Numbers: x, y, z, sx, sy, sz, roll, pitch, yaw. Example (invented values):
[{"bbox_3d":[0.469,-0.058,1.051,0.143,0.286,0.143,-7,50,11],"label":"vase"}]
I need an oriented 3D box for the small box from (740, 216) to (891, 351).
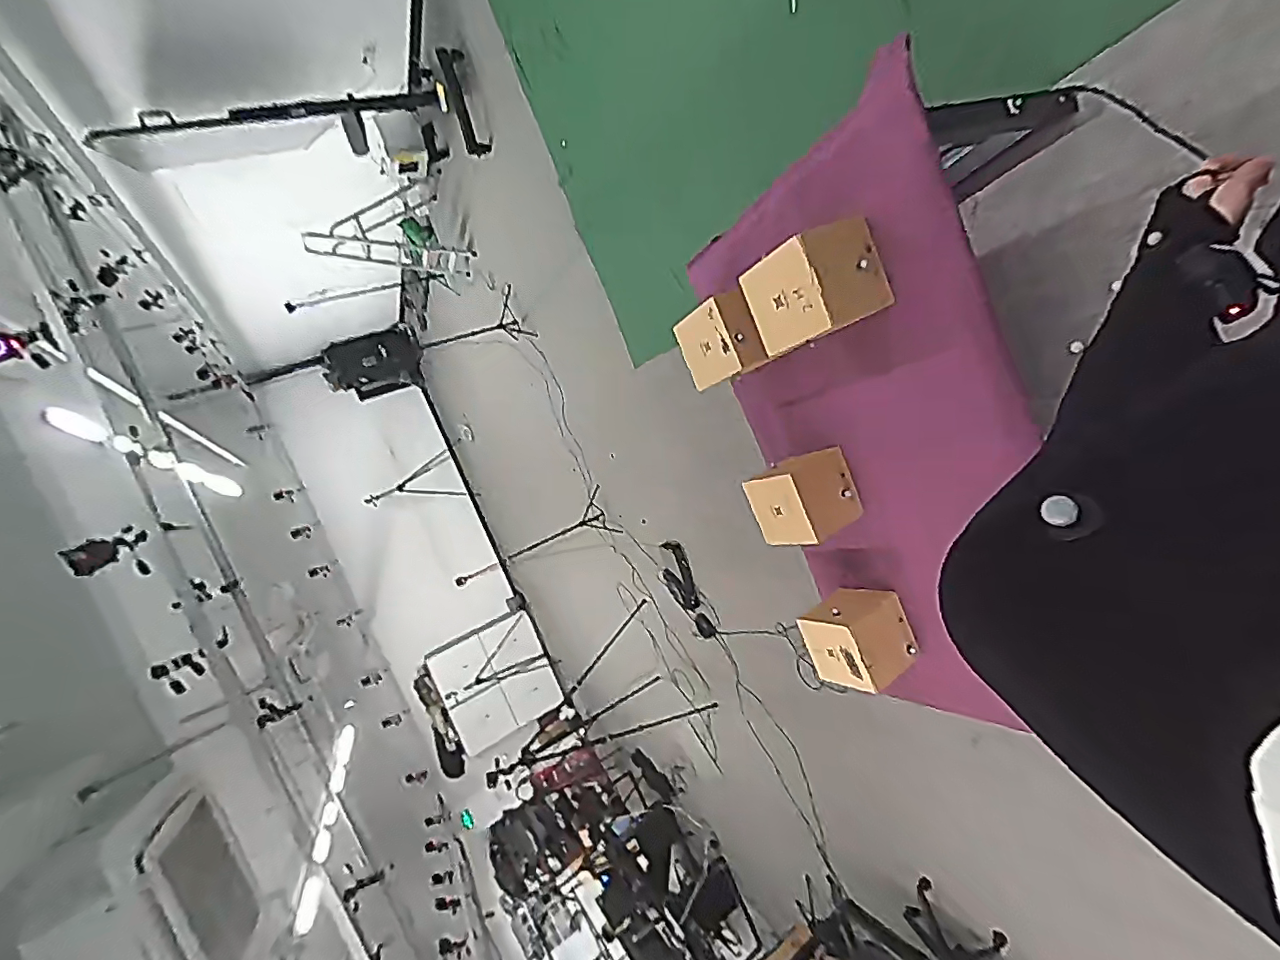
[{"bbox_3d":[0.325,-0.362,1.009,0.179,0.176,0.168,-11,103,65],"label":"small box"}]

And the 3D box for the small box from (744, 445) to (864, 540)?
[{"bbox_3d":[0.381,0.031,1.260,0.179,0.176,0.168,-15,100,64],"label":"small box"}]

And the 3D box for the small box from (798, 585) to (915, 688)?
[{"bbox_3d":[0.518,0.361,1.282,0.179,0.176,0.168,-18,96,65],"label":"small box"}]

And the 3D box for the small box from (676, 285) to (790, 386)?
[{"bbox_3d":[0.217,-0.336,1.246,0.179,0.176,0.168,-17,98,64],"label":"small box"}]
